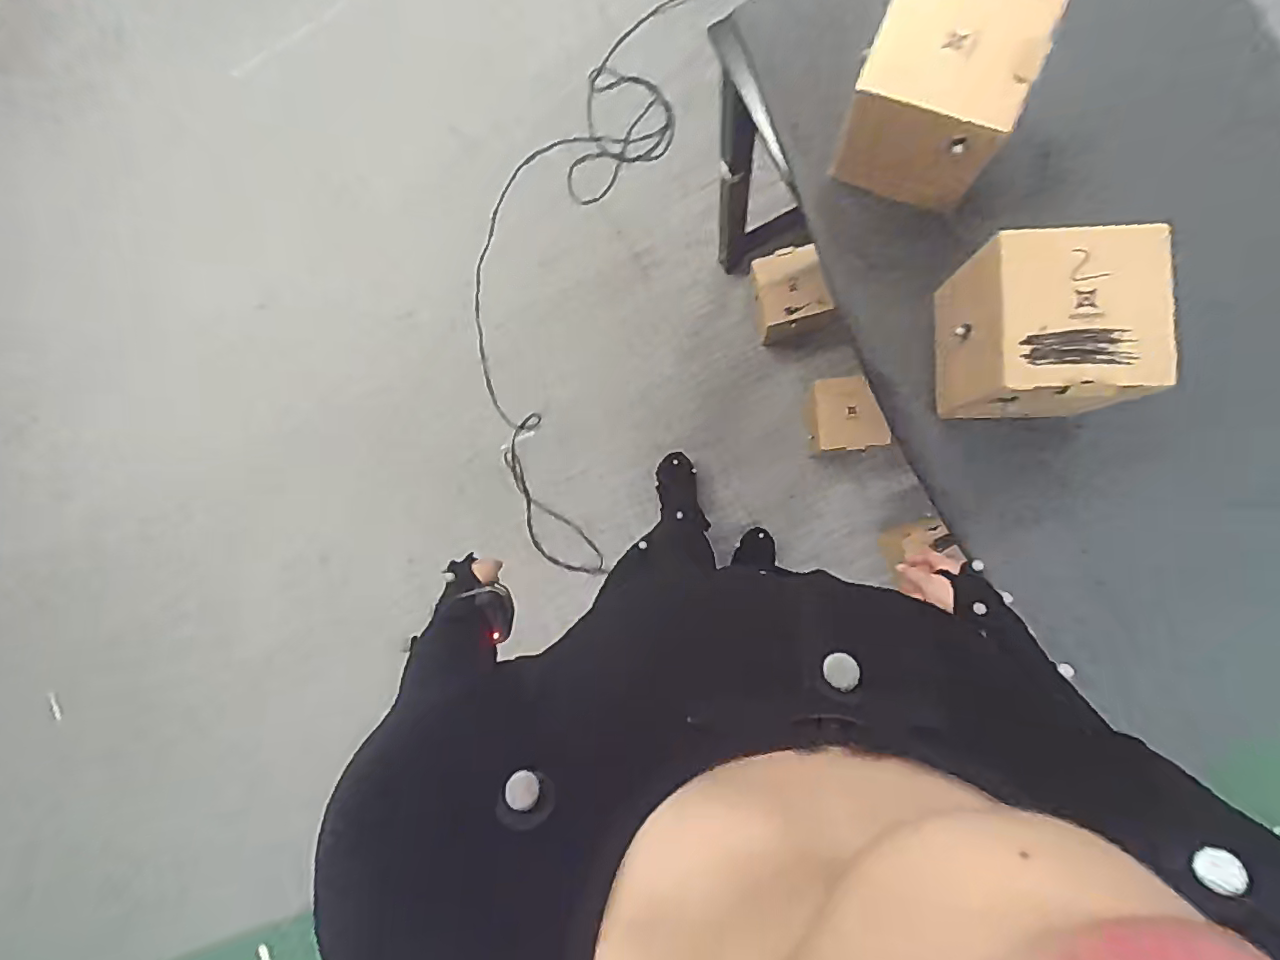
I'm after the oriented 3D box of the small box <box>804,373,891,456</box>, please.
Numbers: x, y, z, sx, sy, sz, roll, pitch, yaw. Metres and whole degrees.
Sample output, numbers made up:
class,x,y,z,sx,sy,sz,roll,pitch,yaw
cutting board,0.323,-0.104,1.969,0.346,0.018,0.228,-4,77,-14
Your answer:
class,x,y,z,sx,sy,sz,roll,pitch,yaw
small box,0.517,-0.157,1.364,0.168,0.176,0.179,-5,85,7

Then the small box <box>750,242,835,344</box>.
class,x,y,z,sx,sy,sz,roll,pitch,yaw
small box,0.386,-0.477,1.401,0.168,0.176,0.179,-13,84,7

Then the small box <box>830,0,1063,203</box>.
class,x,y,z,sx,sy,sz,roll,pitch,yaw
small box,0.359,-0.480,0.670,0.179,0.176,0.168,23,90,8

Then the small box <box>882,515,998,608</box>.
class,x,y,z,sx,sy,sz,roll,pitch,yaw
small box,0.717,0.193,1.316,0.168,0.176,0.179,-20,85,7
